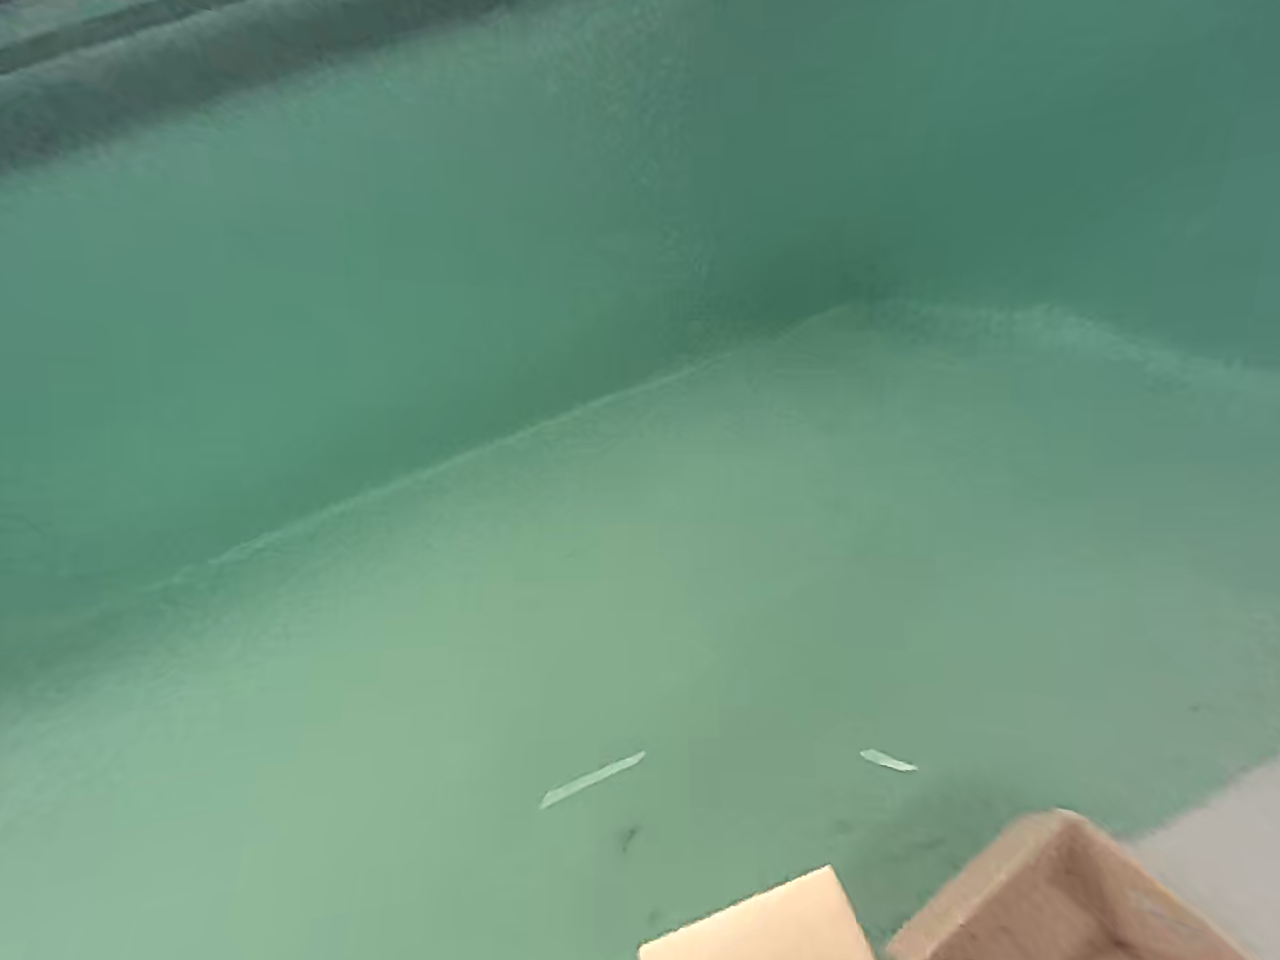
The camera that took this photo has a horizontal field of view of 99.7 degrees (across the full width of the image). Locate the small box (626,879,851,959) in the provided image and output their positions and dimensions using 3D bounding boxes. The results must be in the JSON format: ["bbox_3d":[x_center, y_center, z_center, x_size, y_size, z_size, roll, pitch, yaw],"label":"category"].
[{"bbox_3d":[0.099,0.452,0.410,0.168,0.176,0.179,-20,42,-6],"label":"small box"}]
